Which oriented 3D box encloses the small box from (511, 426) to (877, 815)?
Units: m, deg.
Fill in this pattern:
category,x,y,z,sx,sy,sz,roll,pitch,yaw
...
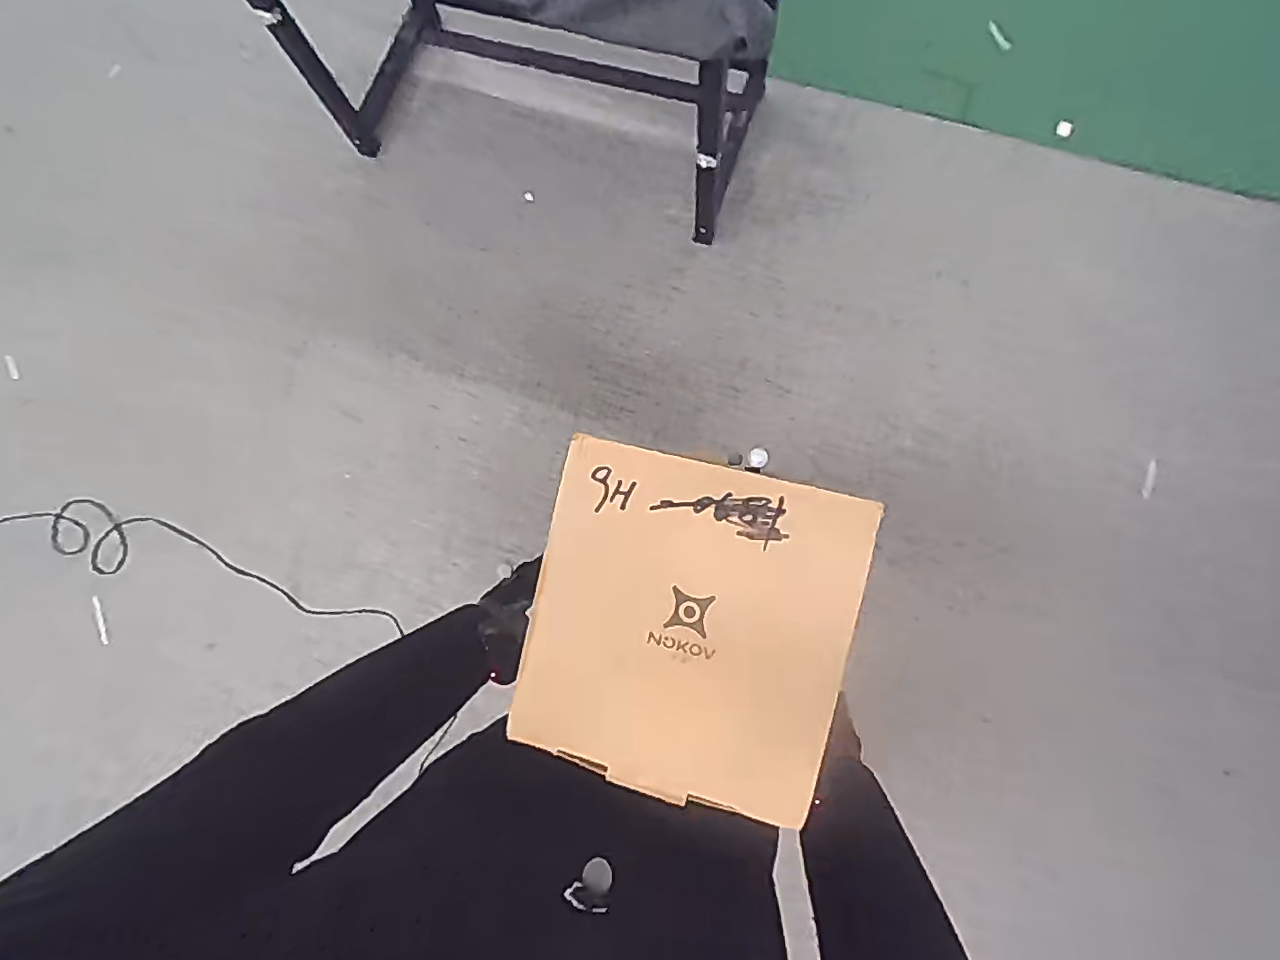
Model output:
category,x,y,z,sx,sy,sz,roll,pitch,yaw
small box,0.035,0.068,0.363,0.168,0.176,0.179,13,95,8
